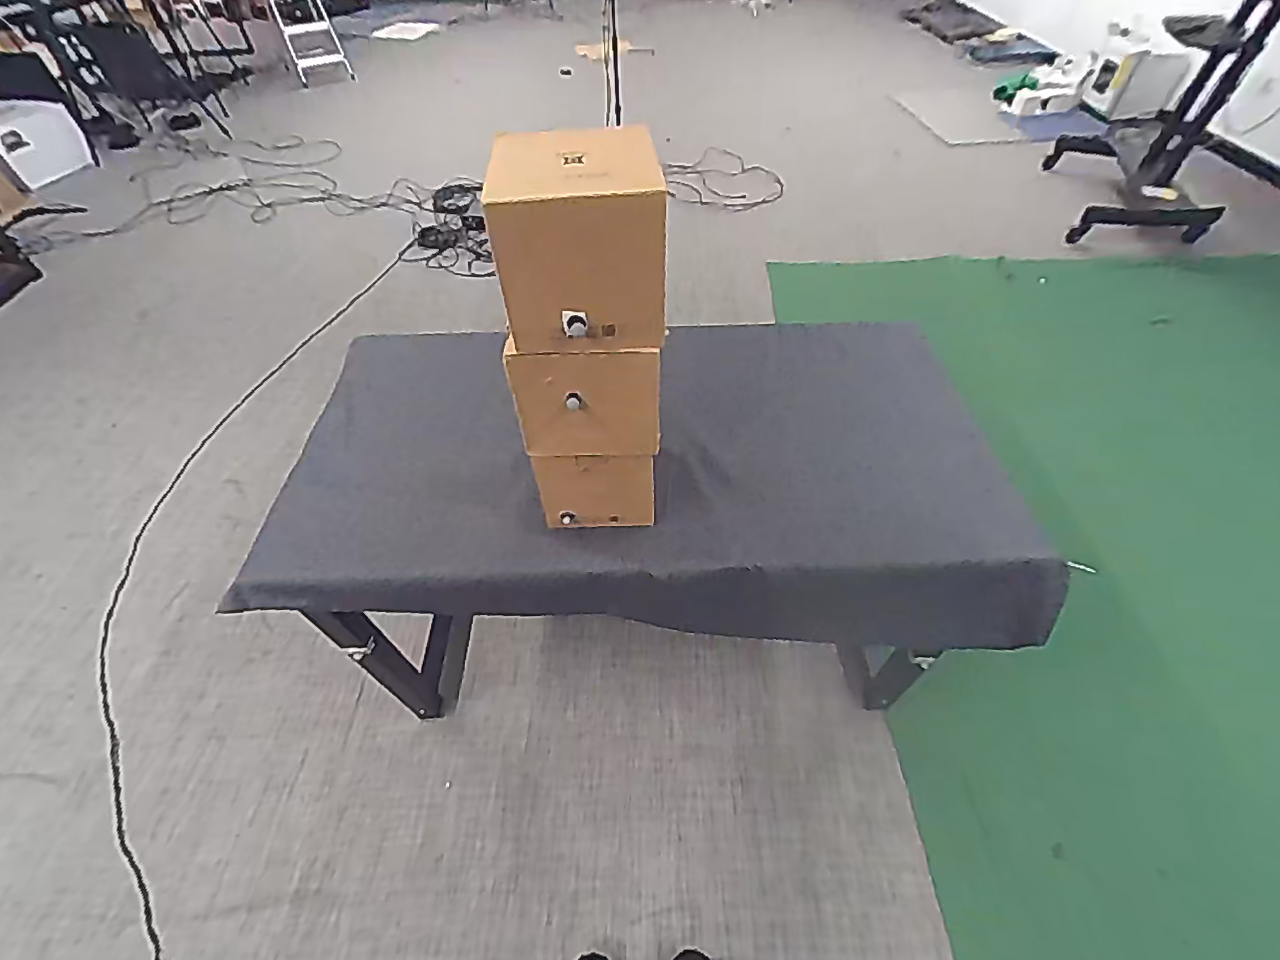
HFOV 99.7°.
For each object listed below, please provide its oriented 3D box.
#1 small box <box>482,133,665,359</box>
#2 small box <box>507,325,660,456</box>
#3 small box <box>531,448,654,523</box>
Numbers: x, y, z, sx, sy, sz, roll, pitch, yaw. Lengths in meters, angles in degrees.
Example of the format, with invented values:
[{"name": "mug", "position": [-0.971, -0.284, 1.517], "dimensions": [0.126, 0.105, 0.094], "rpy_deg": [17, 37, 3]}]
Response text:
[{"name": "small box", "position": [-0.065, -0.256, 0.597], "dimensions": [0.168, 0.176, 0.179], "rpy_deg": [-6, 50, -2]}, {"name": "small box", "position": [-0.065, -0.145, 0.719], "dimensions": [0.179, 0.176, 0.168], "rpy_deg": [-3, 48, -1]}, {"name": "small box", "position": [-0.064, -0.044, 0.844], "dimensions": [0.168, 0.176, 0.179], "rpy_deg": [-2, 48, 1]}]
